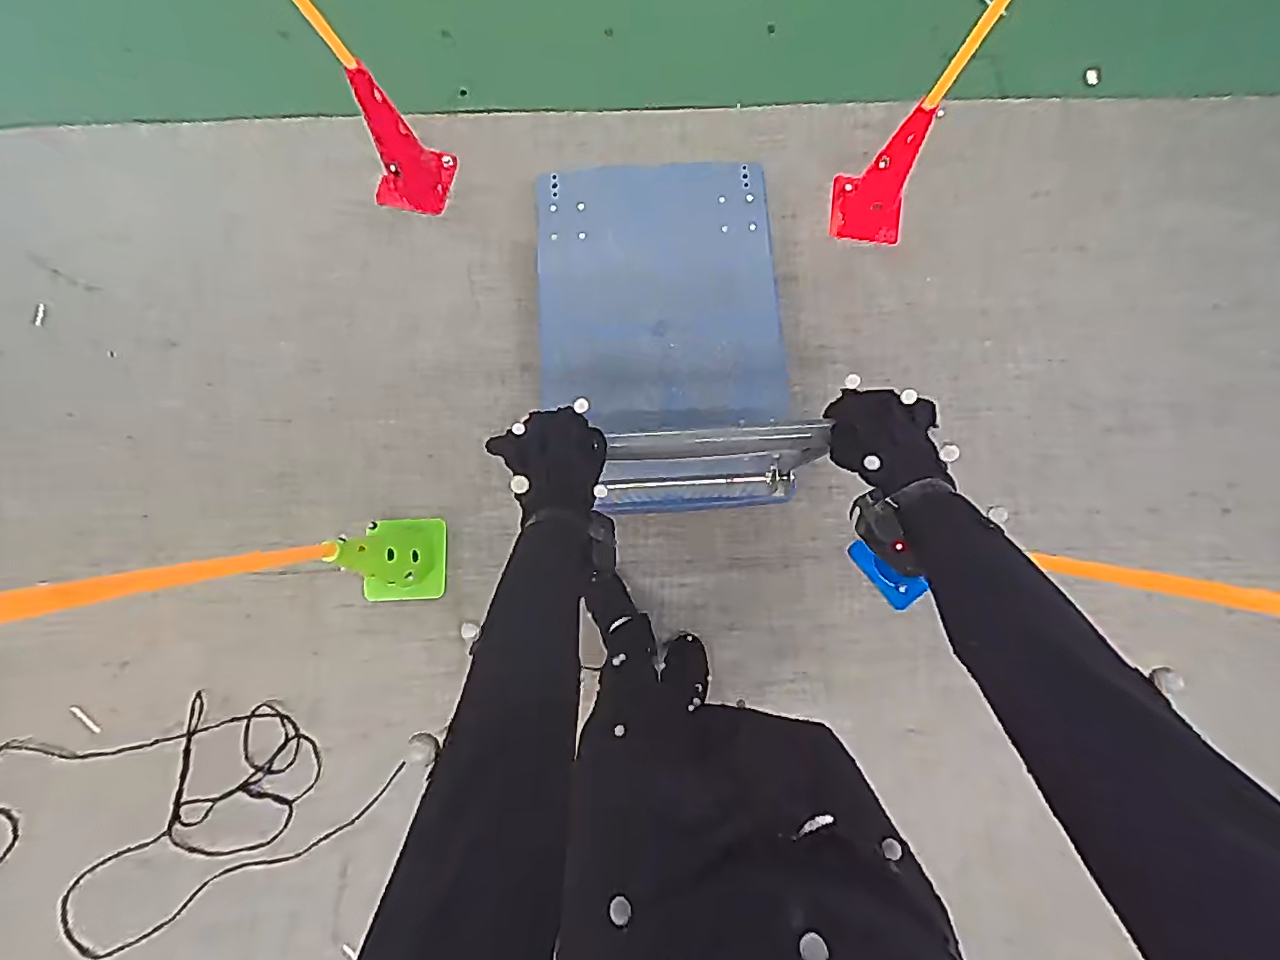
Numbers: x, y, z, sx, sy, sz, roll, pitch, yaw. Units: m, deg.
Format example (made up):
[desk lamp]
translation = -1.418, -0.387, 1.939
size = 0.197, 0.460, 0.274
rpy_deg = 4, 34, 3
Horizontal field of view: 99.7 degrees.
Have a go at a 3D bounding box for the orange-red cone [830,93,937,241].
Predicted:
[orange-red cone]
translation = 0.640, -0.803, 1.359
size = 0.198, 0.360, 0.199
rpy_deg = 9, 81, 3
